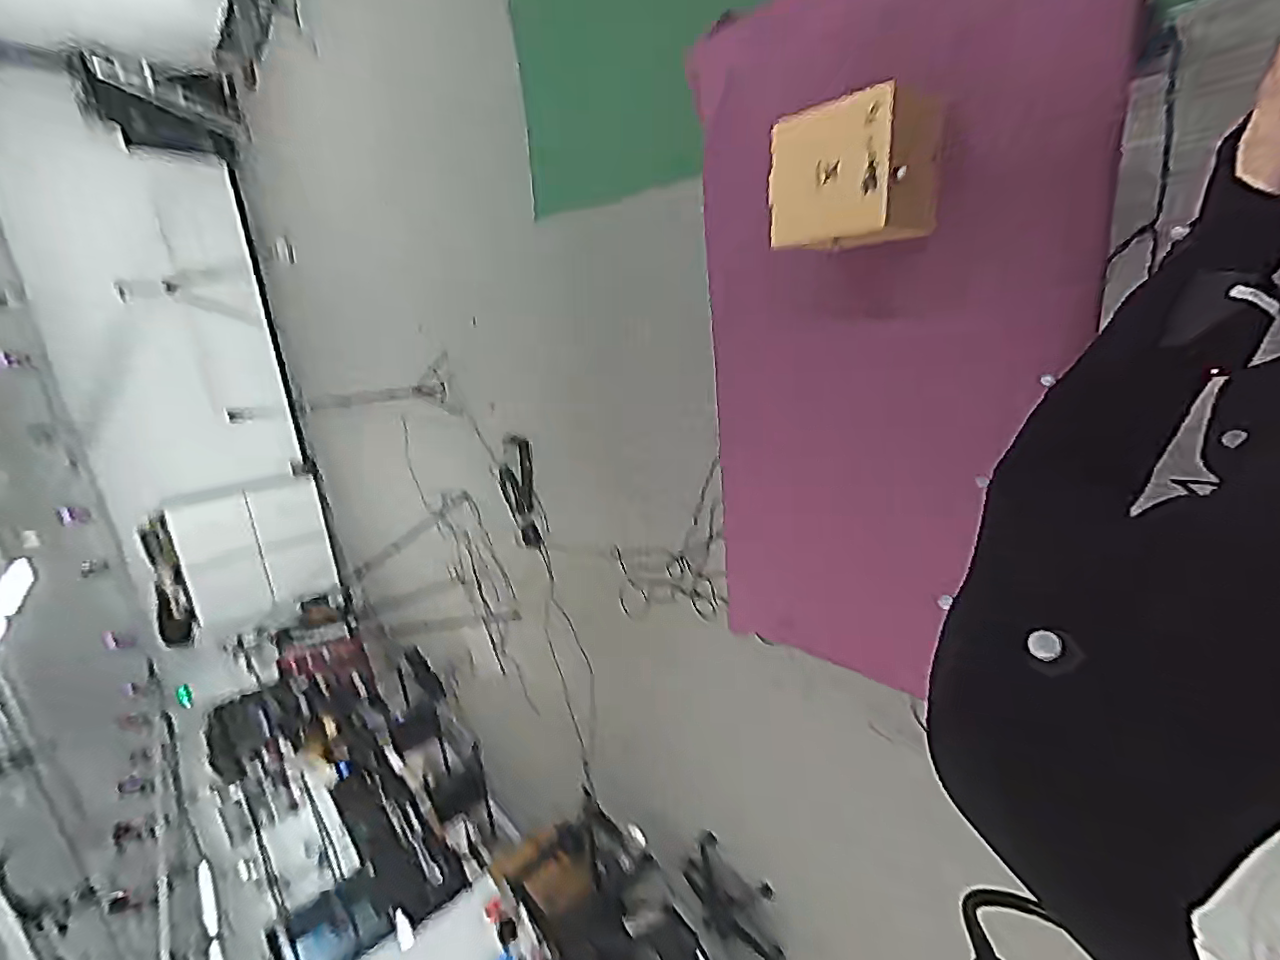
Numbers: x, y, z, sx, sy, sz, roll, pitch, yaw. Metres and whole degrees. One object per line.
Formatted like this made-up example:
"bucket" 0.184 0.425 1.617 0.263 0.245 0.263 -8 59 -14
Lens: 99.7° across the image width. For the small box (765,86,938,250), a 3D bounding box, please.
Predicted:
"small box" 0.303 -0.434 0.787 0.179 0.176 0.168 13 115 46
